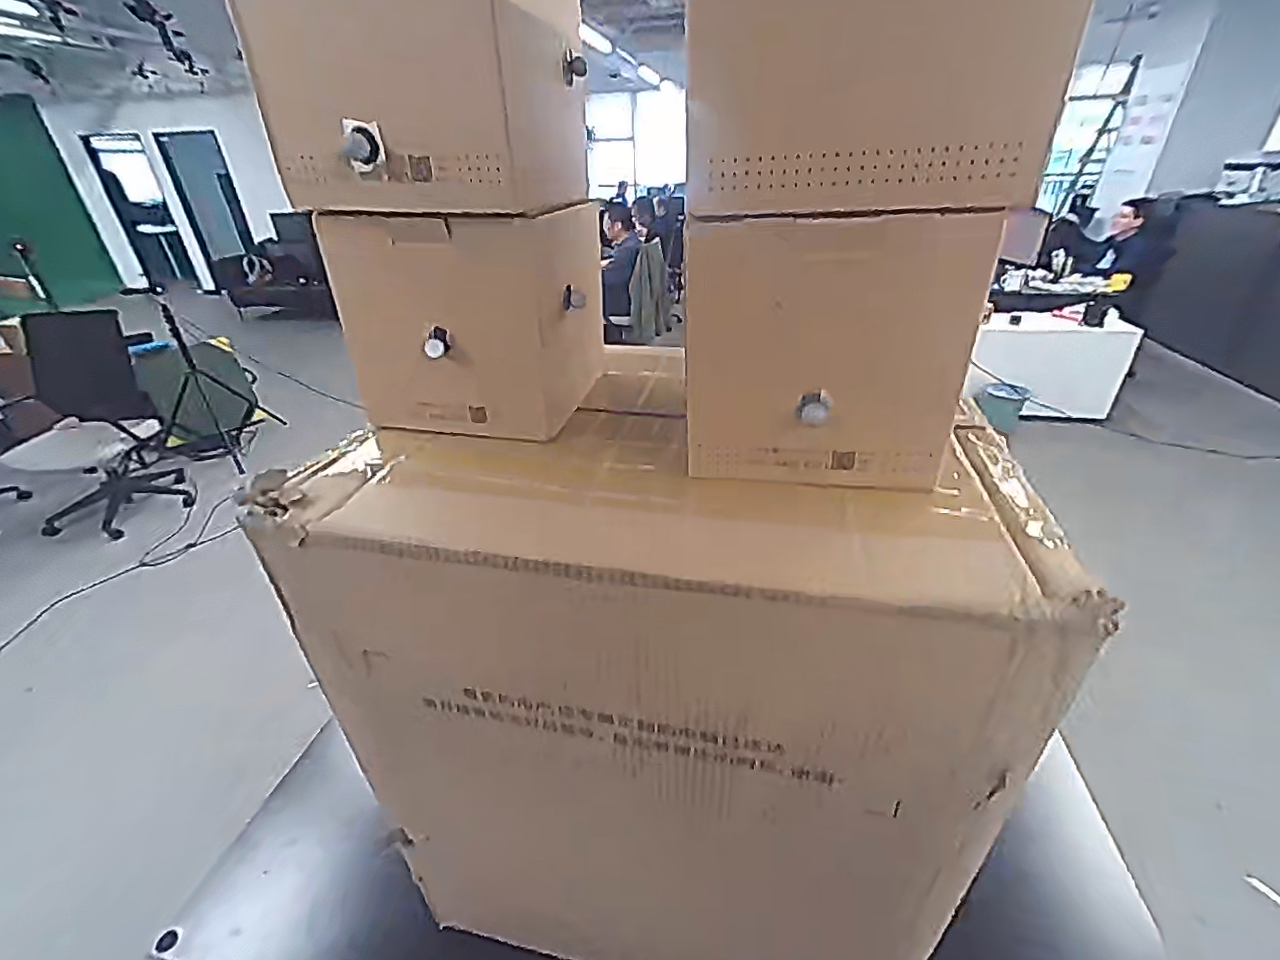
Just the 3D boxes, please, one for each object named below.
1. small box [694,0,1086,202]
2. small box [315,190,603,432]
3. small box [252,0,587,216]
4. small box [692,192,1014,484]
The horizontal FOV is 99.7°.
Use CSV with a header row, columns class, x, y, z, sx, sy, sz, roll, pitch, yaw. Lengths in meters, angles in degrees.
class,x,y,z,sx,sy,sz,roll,pitch,yaw
small box,0.125,-0.254,0.305,0.179,0.176,0.168,4,31,11
small box,-0.131,-0.153,0.475,0.168,0.176,0.179,6,32,9
small box,-0.138,-0.287,0.380,0.168,0.176,0.179,4,31,9
small box,0.129,-0.115,0.394,0.168,0.176,0.179,3,31,12
